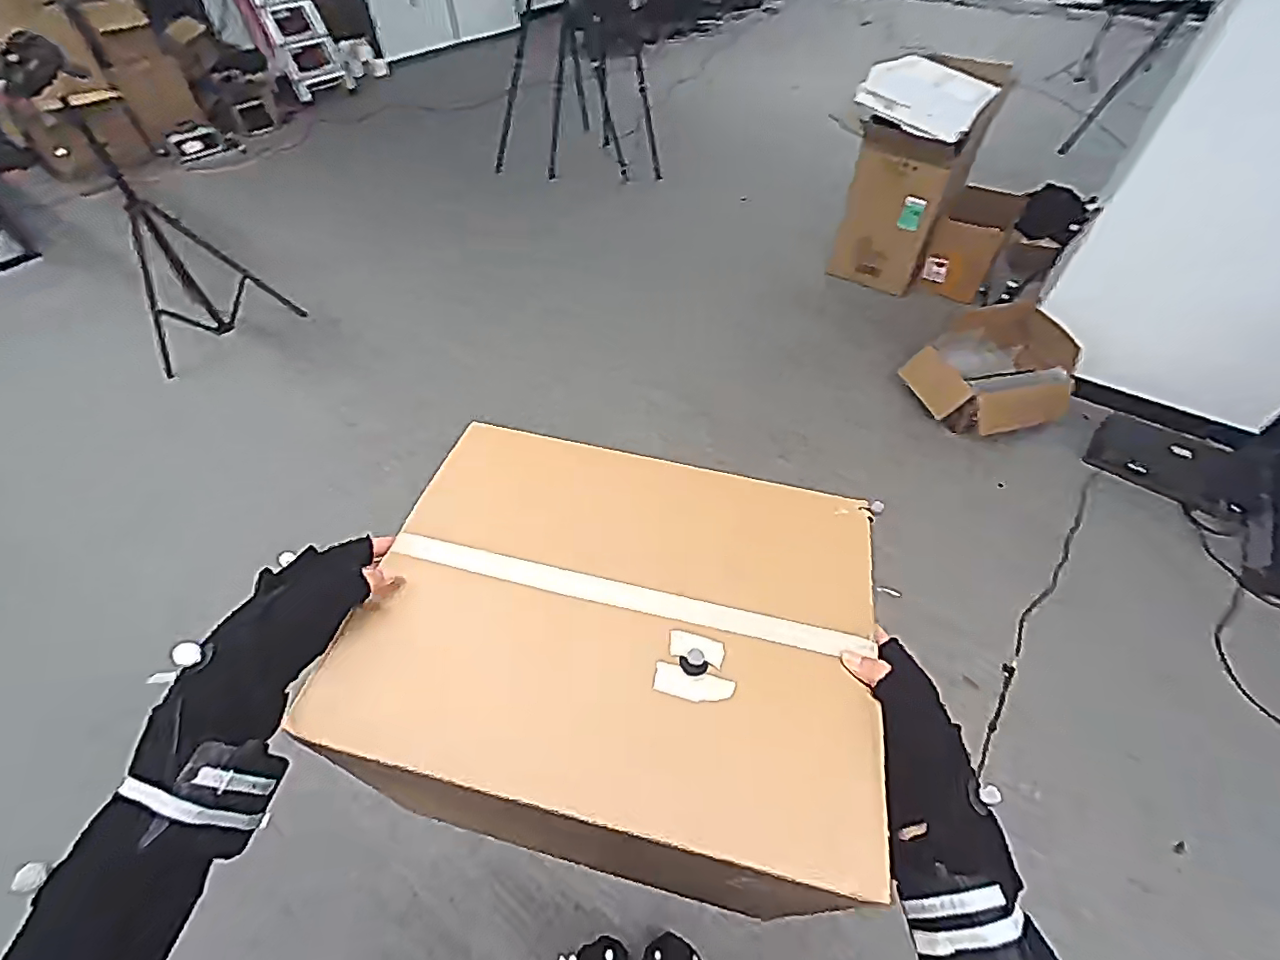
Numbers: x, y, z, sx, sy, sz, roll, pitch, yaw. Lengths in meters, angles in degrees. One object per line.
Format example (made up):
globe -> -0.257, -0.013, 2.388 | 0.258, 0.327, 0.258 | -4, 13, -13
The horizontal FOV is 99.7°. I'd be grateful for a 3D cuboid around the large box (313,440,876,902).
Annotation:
large box -> -0.019, 0.201, 0.572 | 0.408, 0.320, 0.320 | 12, 51, 6
